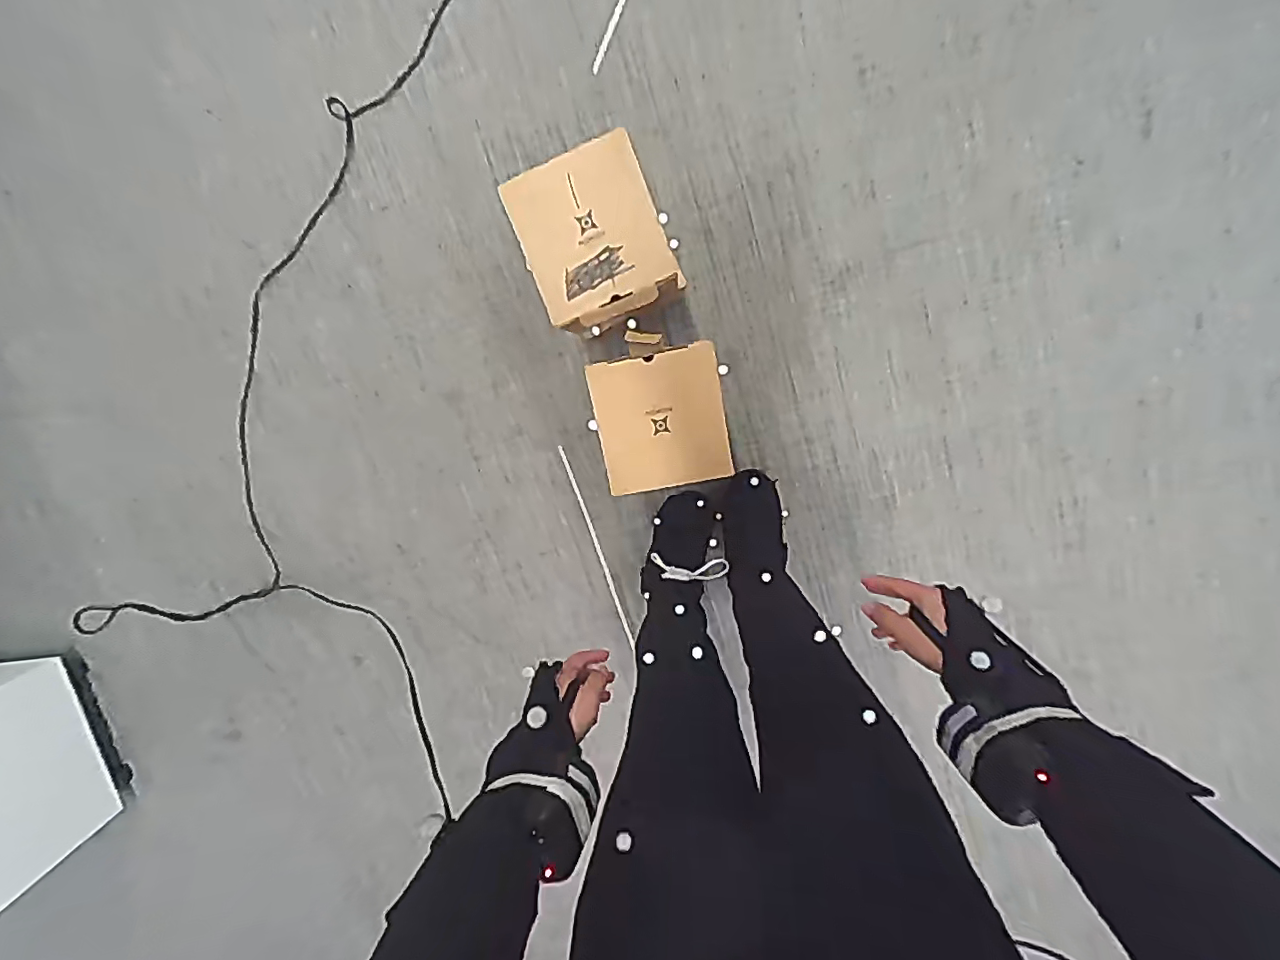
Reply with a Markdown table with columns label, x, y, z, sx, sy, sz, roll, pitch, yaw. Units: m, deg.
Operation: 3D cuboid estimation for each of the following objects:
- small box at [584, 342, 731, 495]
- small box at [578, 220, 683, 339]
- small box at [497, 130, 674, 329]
| label | x | y | z | sx | sy | sz | roll | pitch | yaw |
| --- | --- | --- | --- | --- | --- | --- | --- | --- | --- |
| small box | 0.031 | -0.094 | 0.767 | 0.168 | 0.176 | 0.179 | -10 | 102 | 7 |
| small box | -0.039 | -0.340 | 0.879 | 0.179 | 0.176 | 0.168 | -26 | 100 | 9 |
| small box | -0.058 | -0.311 | 0.717 | 0.168 | 0.176 | 0.179 | -21 | 100 | 7 |
